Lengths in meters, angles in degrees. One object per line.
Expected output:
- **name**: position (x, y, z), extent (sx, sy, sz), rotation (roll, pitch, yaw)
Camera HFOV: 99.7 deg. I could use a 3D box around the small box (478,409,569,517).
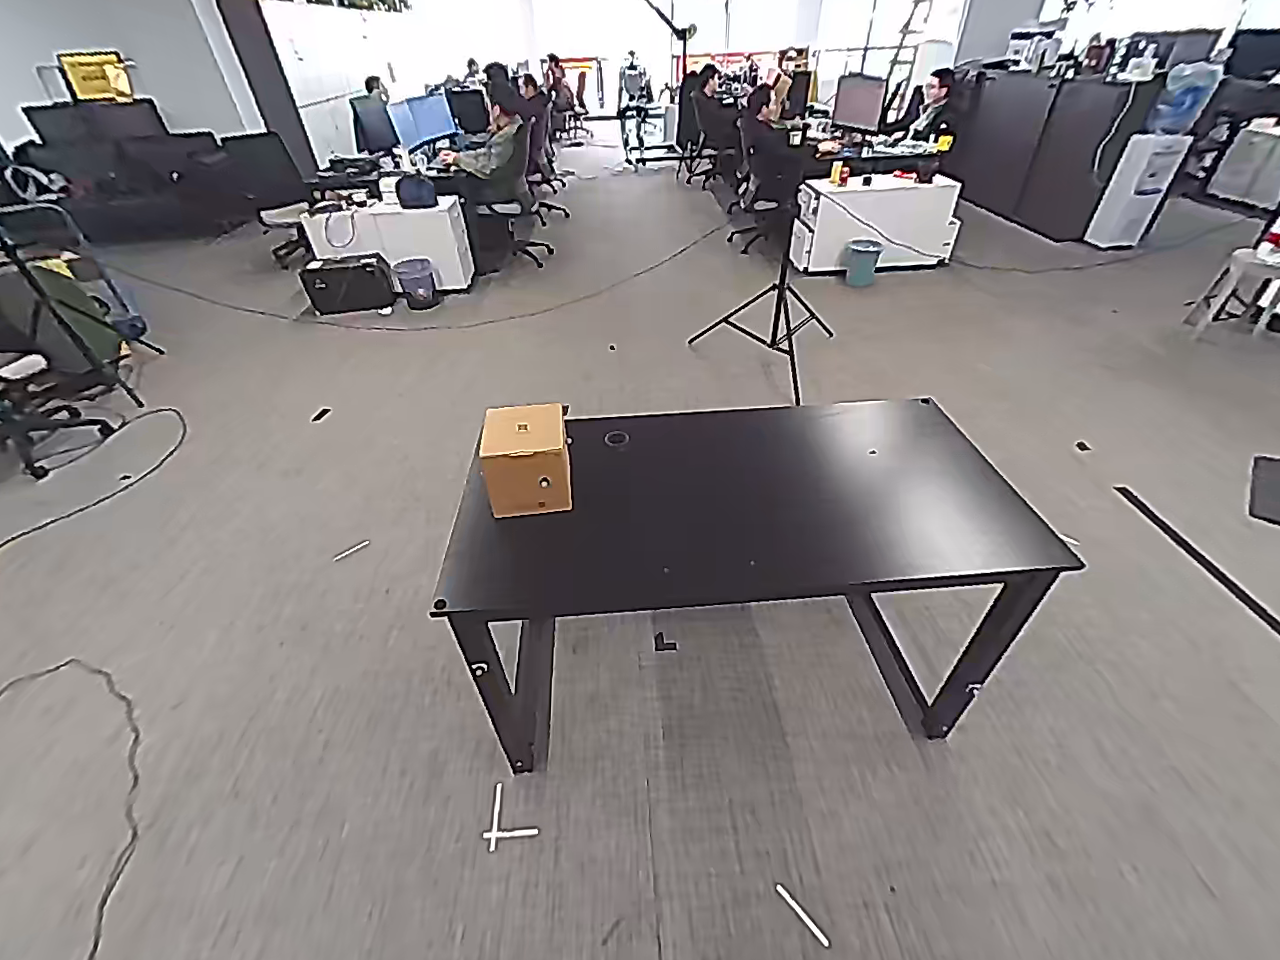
- **small box**: position (-0.246, -0.032, 1.177), extent (0.168, 0.176, 0.179), rotation (-5, 39, -6)
